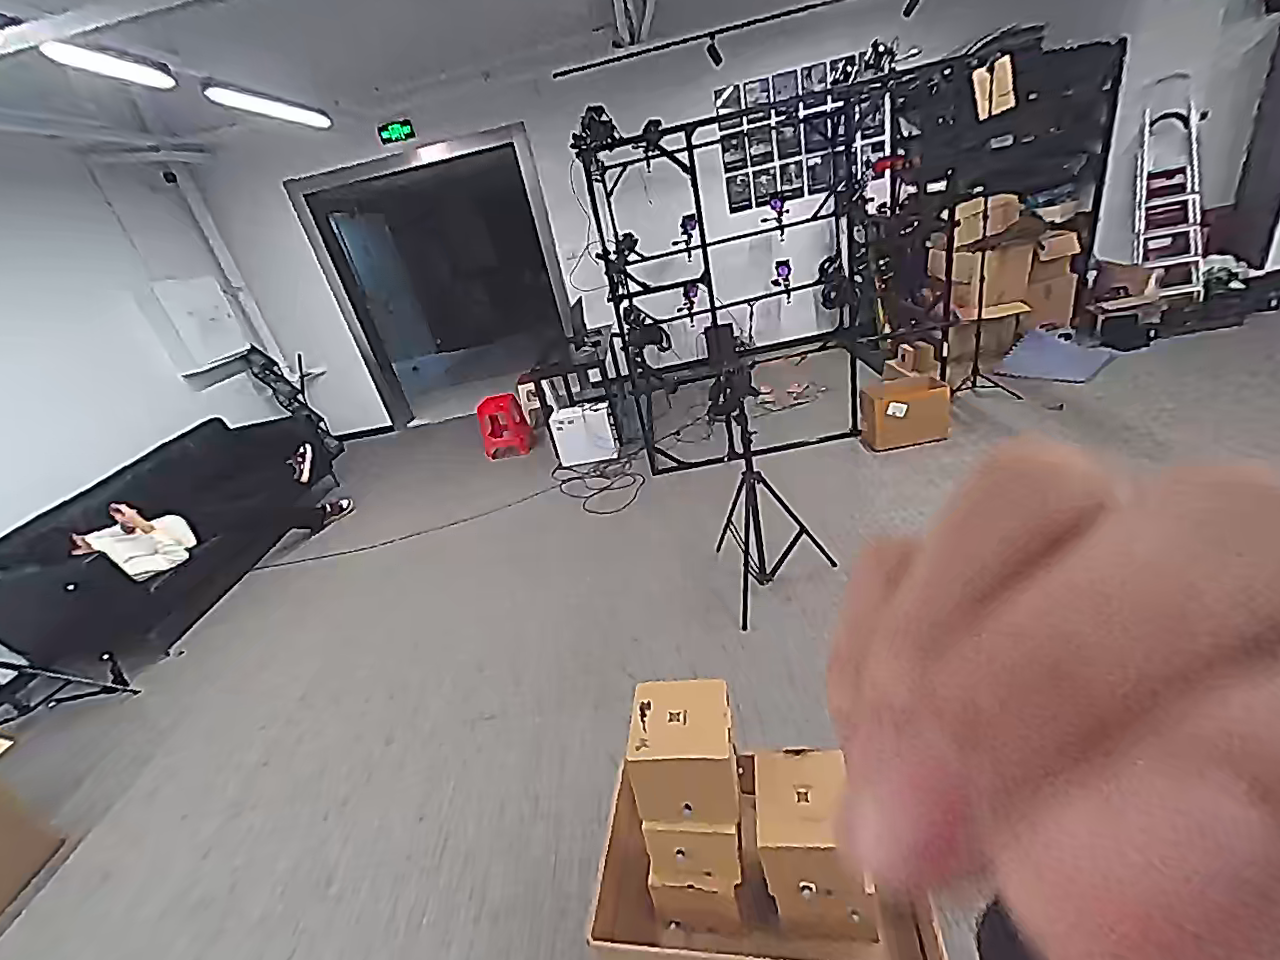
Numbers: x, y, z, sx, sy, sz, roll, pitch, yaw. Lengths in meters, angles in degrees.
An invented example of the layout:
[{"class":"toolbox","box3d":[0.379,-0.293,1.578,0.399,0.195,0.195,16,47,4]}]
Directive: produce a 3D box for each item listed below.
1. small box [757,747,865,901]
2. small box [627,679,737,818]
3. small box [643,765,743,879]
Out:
[{"class":"small box","box3d":[0.306,0.618,0.984,0.168,0.176,0.179,-8,26,15]},{"class":"small box","box3d":[0.084,0.486,0.986,0.179,0.176,0.168,-5,26,10]},{"class":"small box","box3d":[0.110,0.635,1.049,0.168,0.176,0.179,-5,27,11]}]
